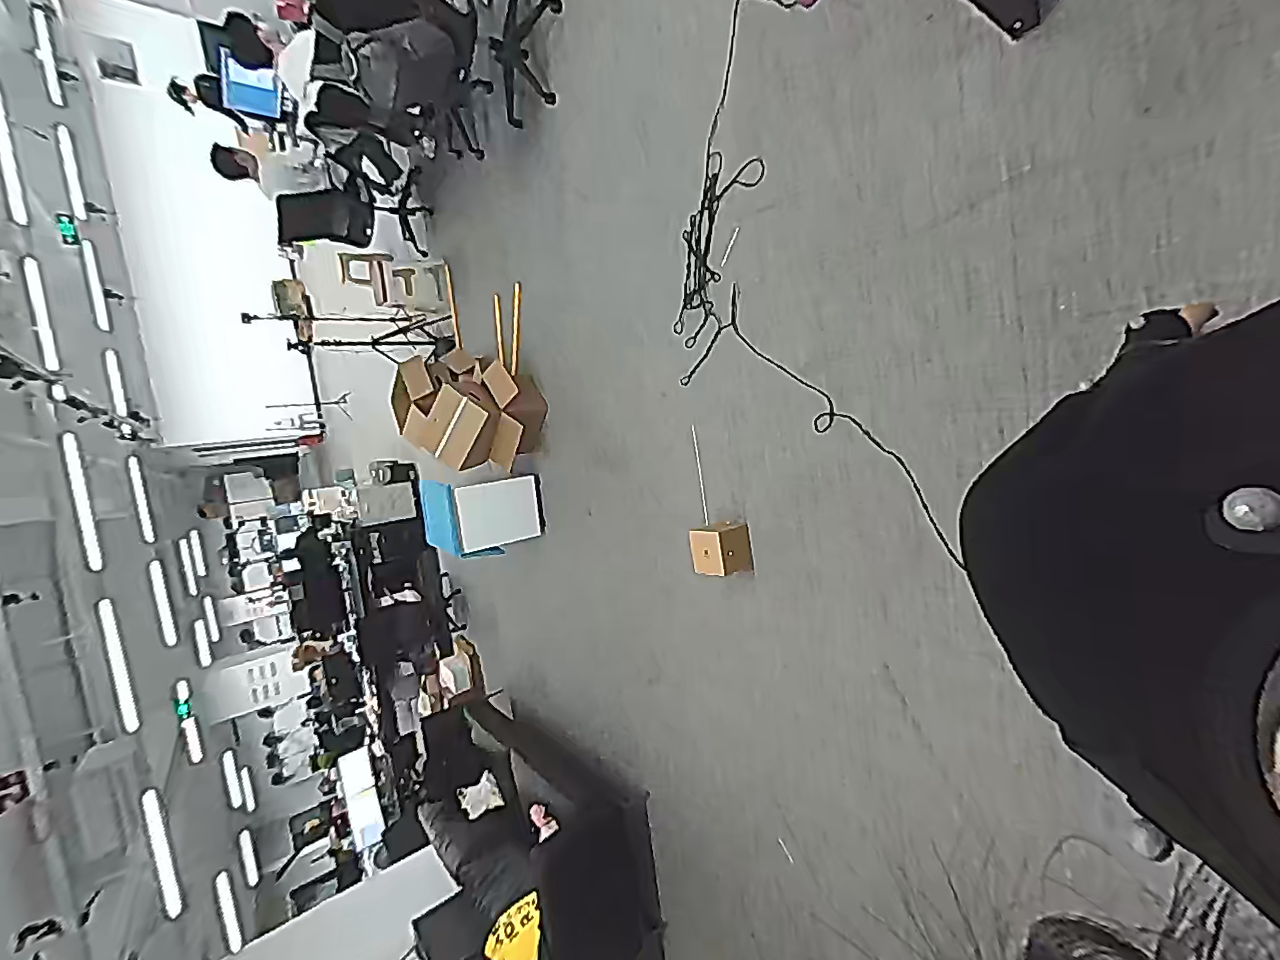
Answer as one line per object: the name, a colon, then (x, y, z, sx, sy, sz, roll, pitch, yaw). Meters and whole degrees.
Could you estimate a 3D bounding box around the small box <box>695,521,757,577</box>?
small box: (0.341, 0.267, 2.125, 0.168, 0.176, 0.179, -3, 96, 54)
